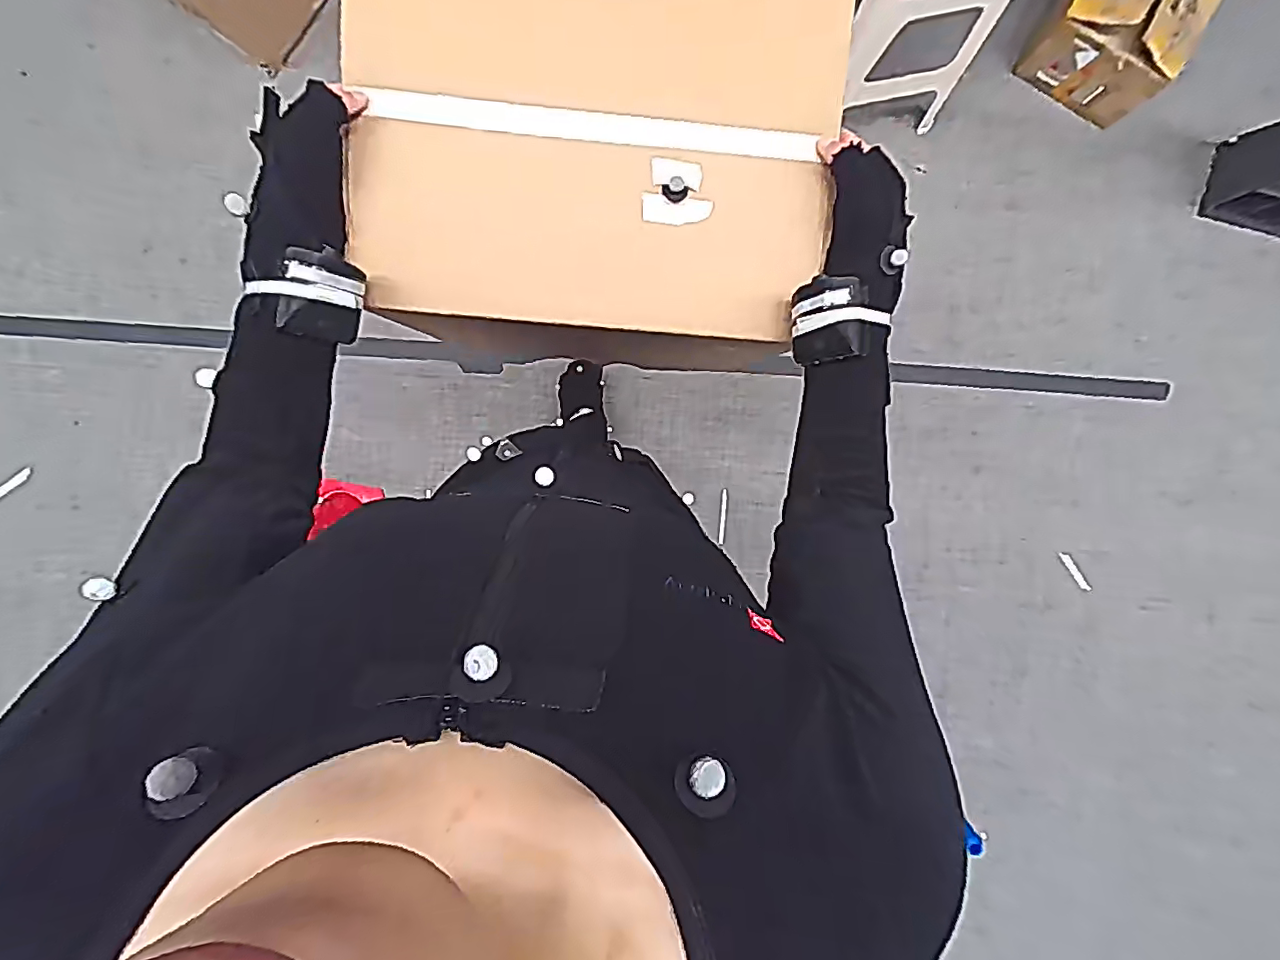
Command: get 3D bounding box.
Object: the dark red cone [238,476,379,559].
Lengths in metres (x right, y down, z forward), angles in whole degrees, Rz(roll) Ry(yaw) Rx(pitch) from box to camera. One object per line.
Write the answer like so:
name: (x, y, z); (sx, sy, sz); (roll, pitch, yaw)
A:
dark red cone: (-0.781, 0.107, 1.249); (0.201, 0.394, 0.202); (9, 93, -4)

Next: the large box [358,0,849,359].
large box: (-0.042, -0.315, 0.597); (0.408, 0.320, 0.320); (4, 98, -5)
